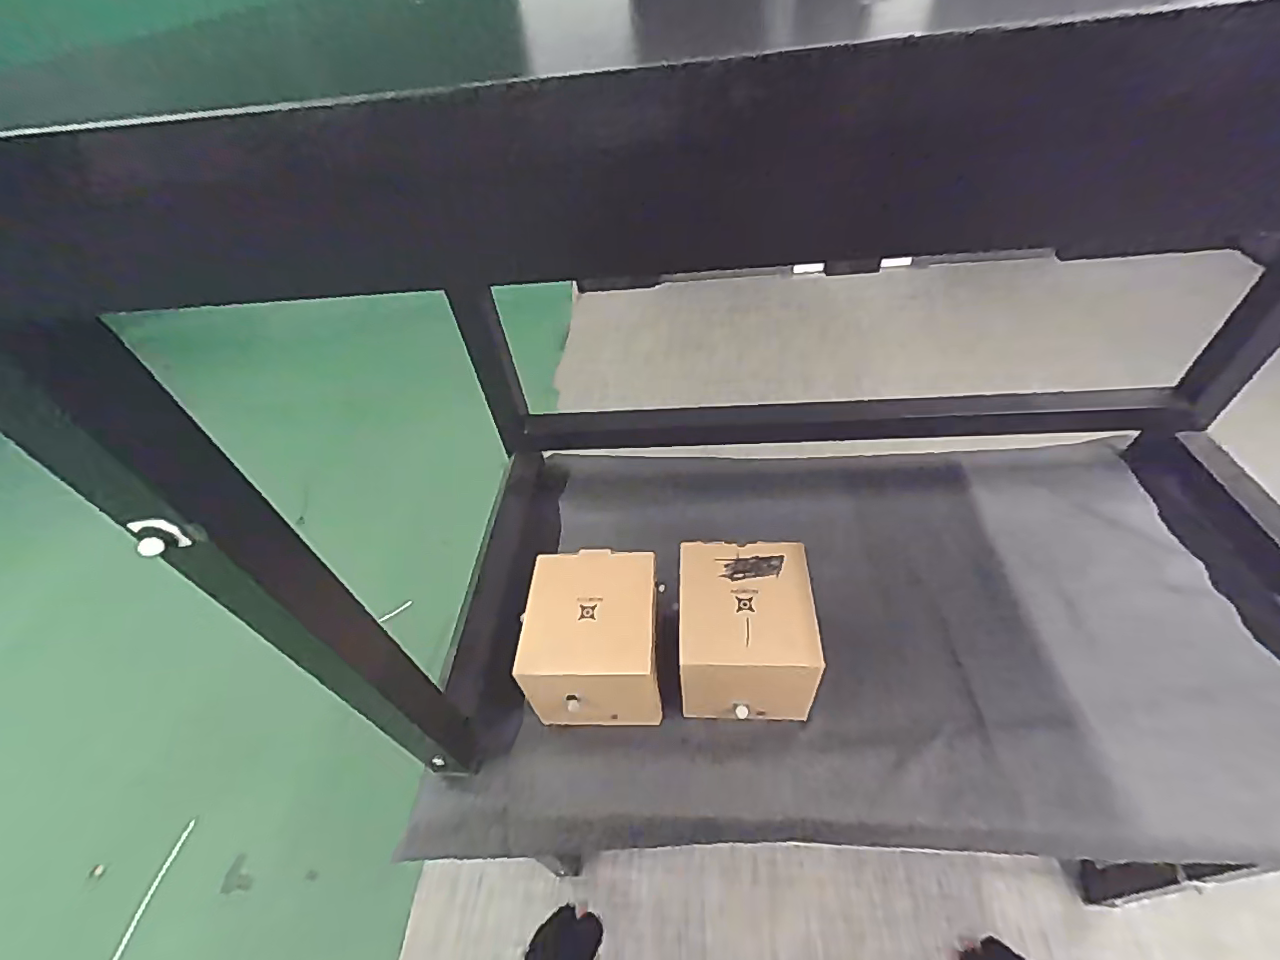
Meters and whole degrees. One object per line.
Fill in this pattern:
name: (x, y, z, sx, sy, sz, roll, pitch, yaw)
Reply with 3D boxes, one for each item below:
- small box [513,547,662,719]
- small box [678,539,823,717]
small box: (-0.058, 0.212, 0.740, 0.168, 0.176, 0.179, -2, 46, 6)
small box: (0.138, 0.197, 0.727, 0.168, 0.176, 0.179, -2, 47, 7)
